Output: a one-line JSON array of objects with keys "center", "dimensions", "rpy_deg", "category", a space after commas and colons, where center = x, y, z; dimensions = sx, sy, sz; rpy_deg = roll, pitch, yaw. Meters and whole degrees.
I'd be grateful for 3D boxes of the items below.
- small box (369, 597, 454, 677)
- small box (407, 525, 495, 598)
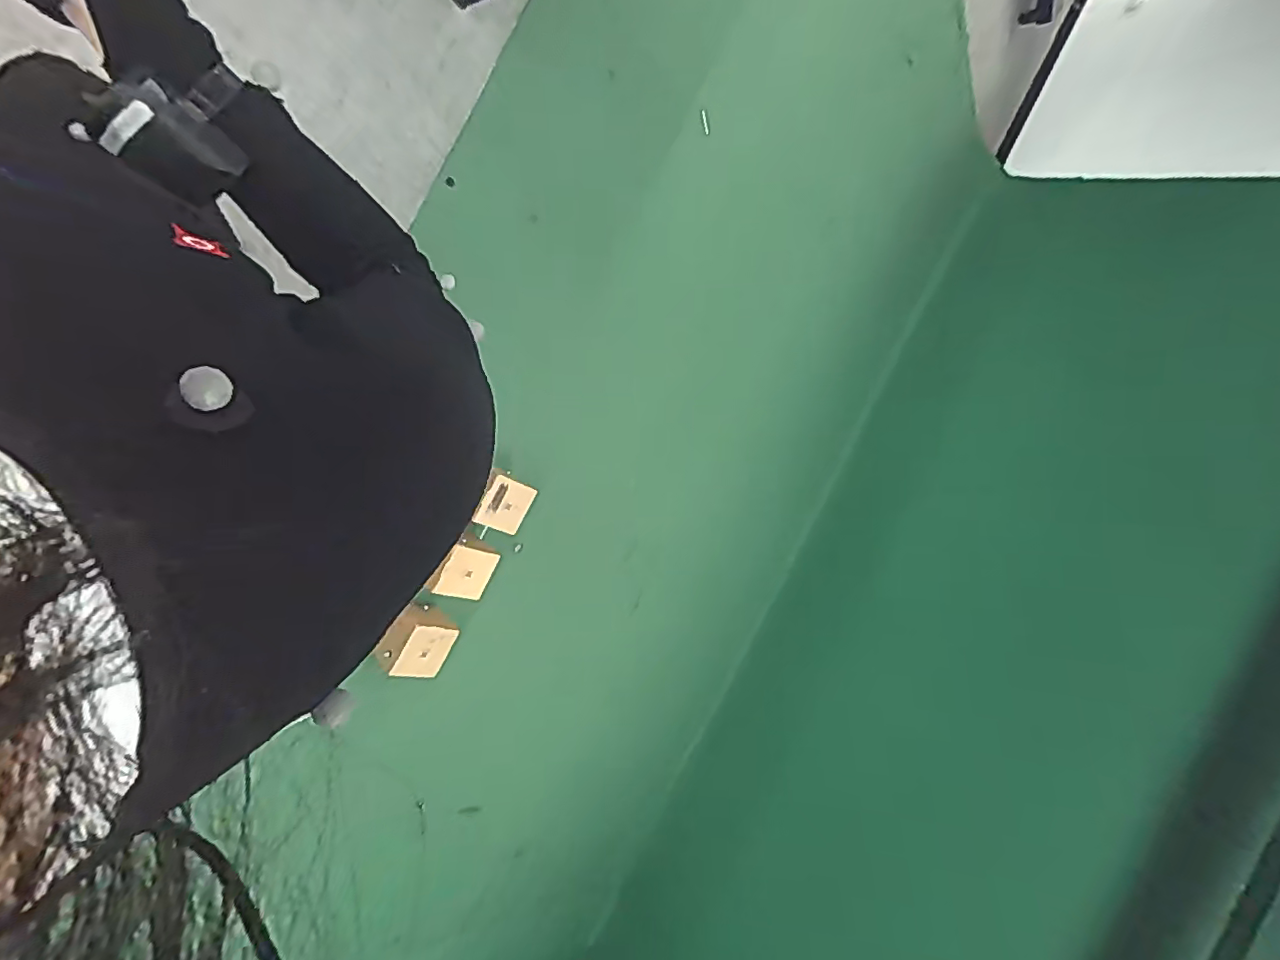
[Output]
[{"center": [-0.740, 0.503, 1.733], "dimensions": [0.168, 0.176, 0.179], "rpy_deg": [31, 88, -51], "category": "small box"}, {"center": [-0.610, 0.261, 1.740], "dimensions": [0.179, 0.176, 0.168], "rpy_deg": [27, 91, -50], "category": "small box"}]
